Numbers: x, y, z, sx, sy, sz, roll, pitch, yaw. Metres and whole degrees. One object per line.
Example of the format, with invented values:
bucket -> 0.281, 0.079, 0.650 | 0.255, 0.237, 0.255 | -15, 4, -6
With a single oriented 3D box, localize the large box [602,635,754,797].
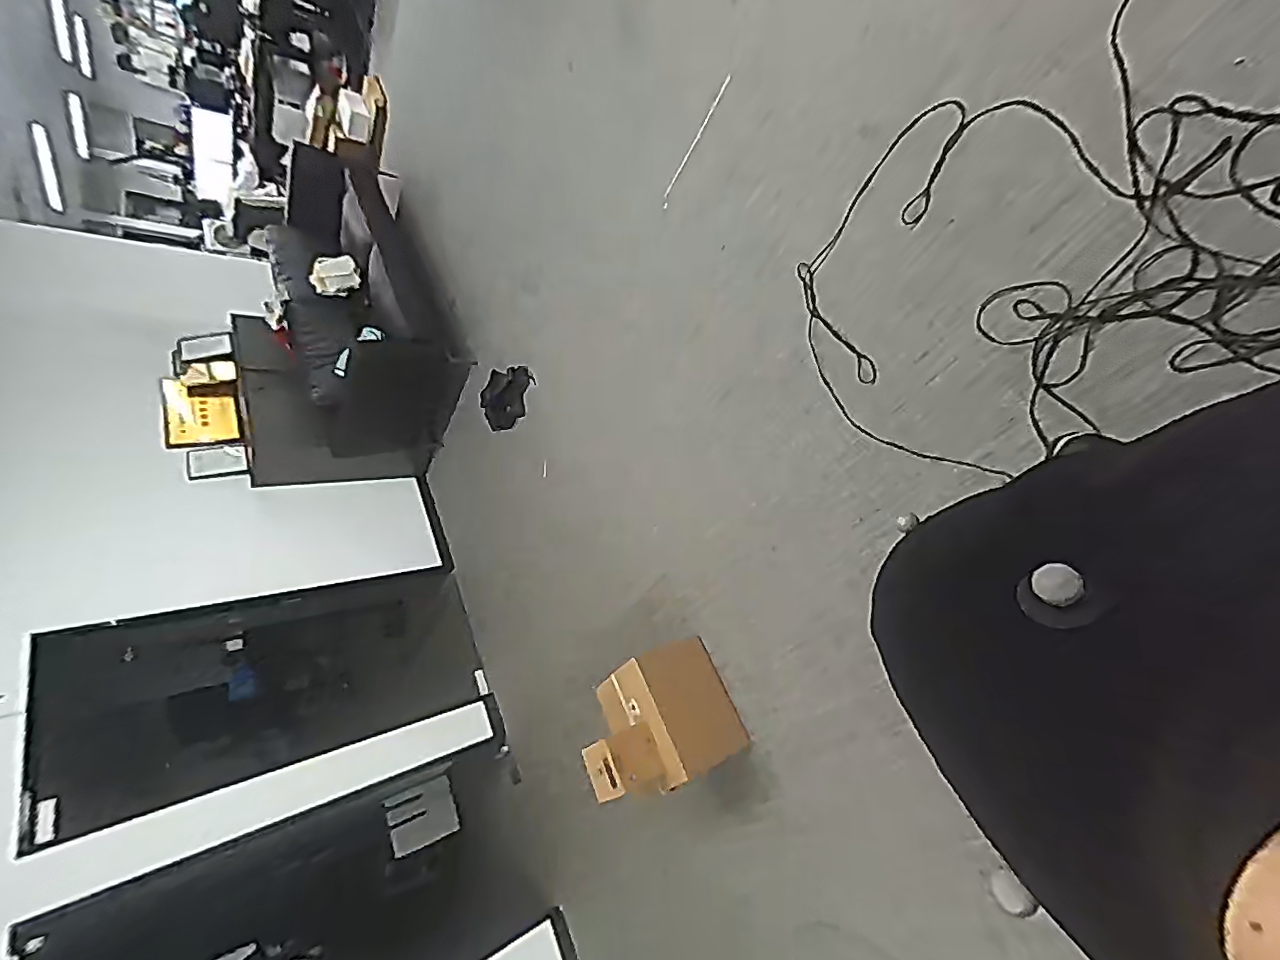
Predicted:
large box -> 0.125, 0.823, 1.917 | 0.320, 0.320, 0.408 | -51, 55, 39
